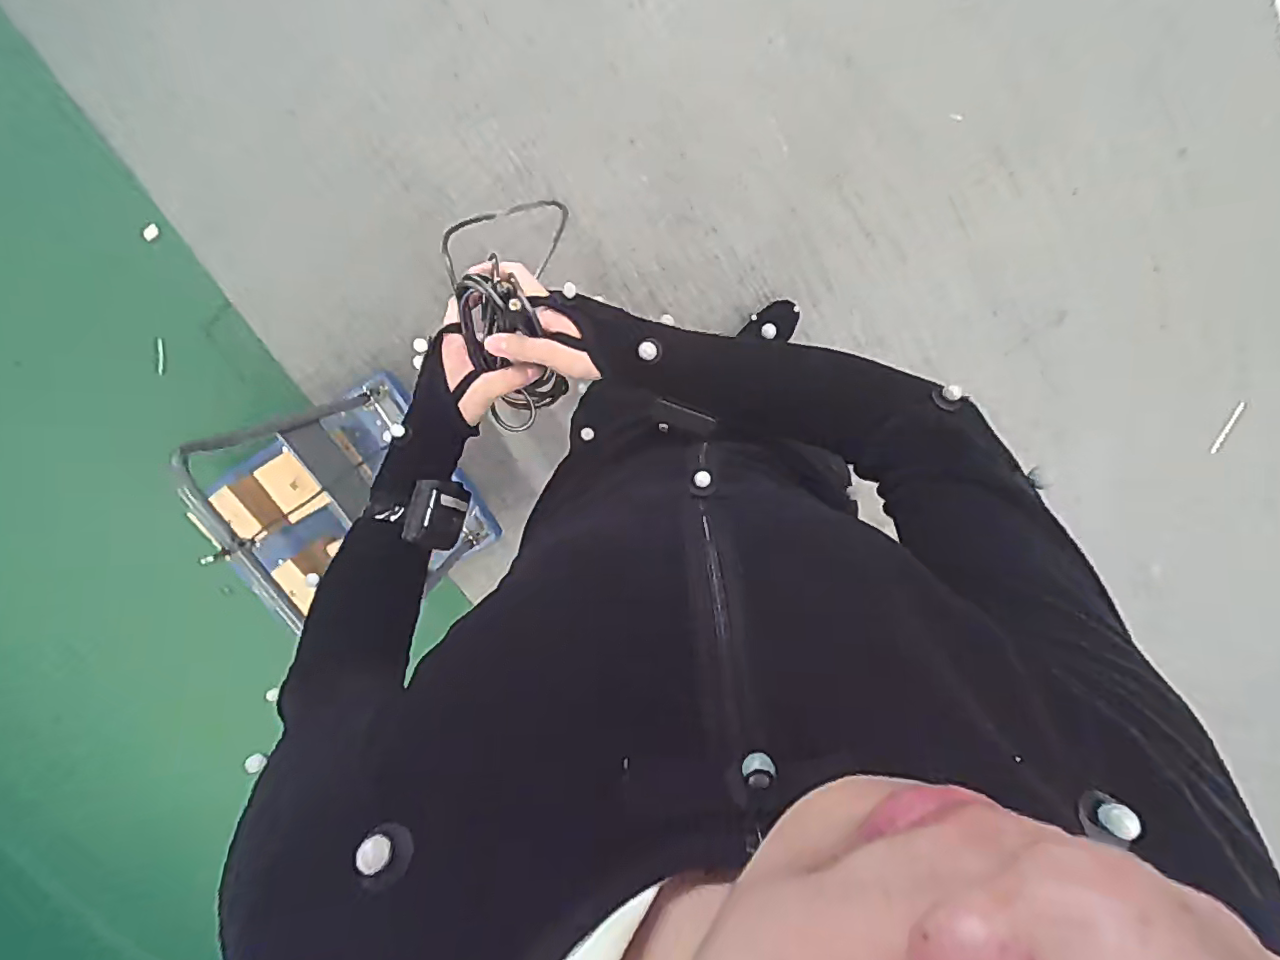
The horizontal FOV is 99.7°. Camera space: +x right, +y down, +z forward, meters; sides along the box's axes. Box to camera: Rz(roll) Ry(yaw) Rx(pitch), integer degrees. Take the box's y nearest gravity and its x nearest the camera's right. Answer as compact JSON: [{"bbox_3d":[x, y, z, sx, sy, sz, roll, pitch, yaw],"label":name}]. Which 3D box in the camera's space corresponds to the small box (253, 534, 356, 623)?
[{"bbox_3d":[-0.992,0.290,1.624,0.179,0.176,0.168,-30,103,16],"label":"small box"}]

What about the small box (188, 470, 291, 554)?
[{"bbox_3d":[-1.129,0.080,1.564,0.179,0.176,0.168,-29,105,15],"label":"small box"}]

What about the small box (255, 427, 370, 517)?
[{"bbox_3d":[-0.896,-0.027,1.497,0.179,0.176,0.168,-26,105,15],"label":"small box"}]
